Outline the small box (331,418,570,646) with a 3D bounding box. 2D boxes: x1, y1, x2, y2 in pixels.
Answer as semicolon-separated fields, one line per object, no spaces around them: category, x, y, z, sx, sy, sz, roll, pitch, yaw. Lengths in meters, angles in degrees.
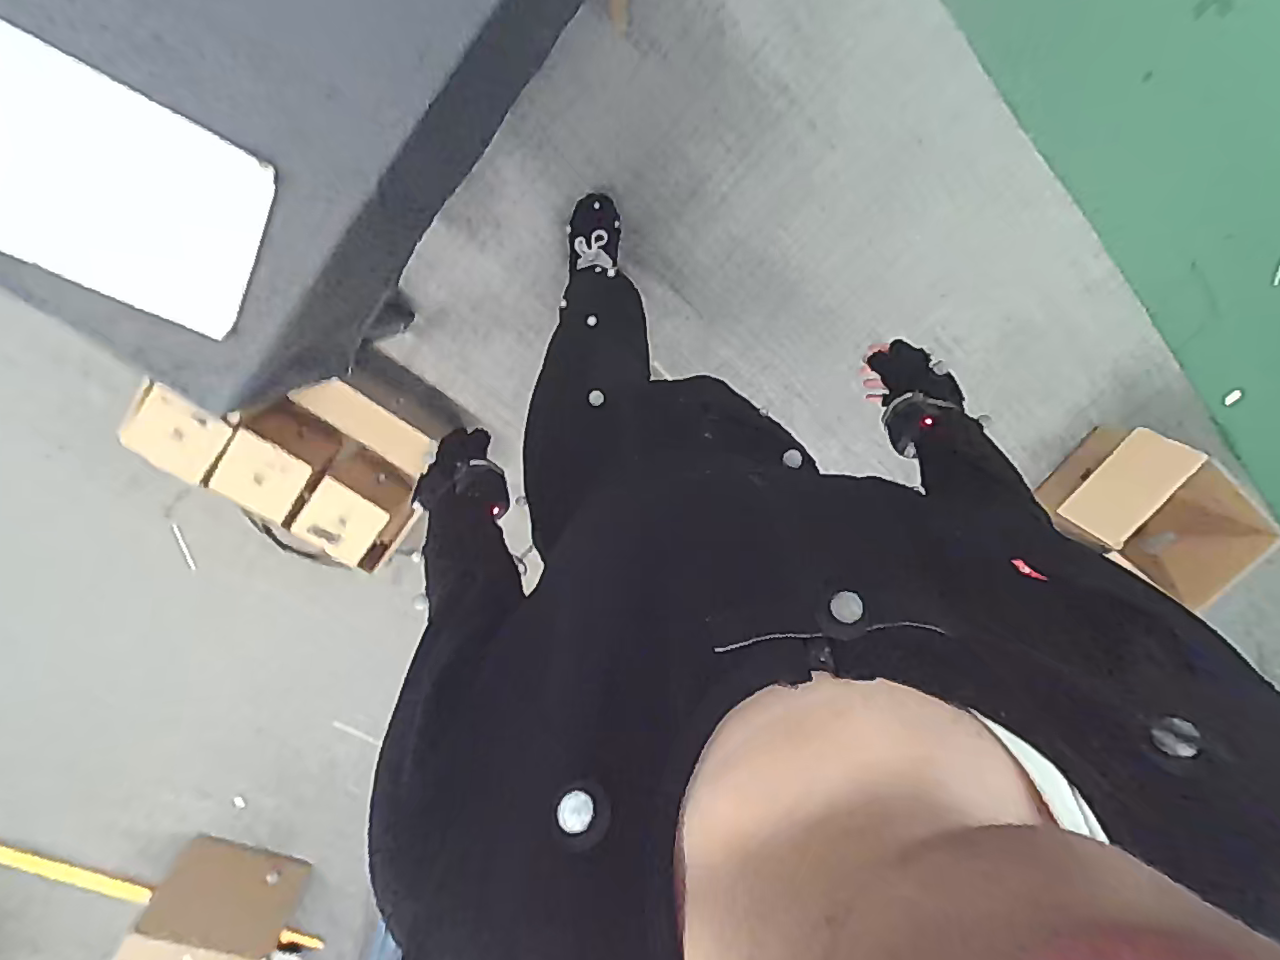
small box;-0.212;0.056;0.607;0.168;0.179;0.176;48;72;-14
